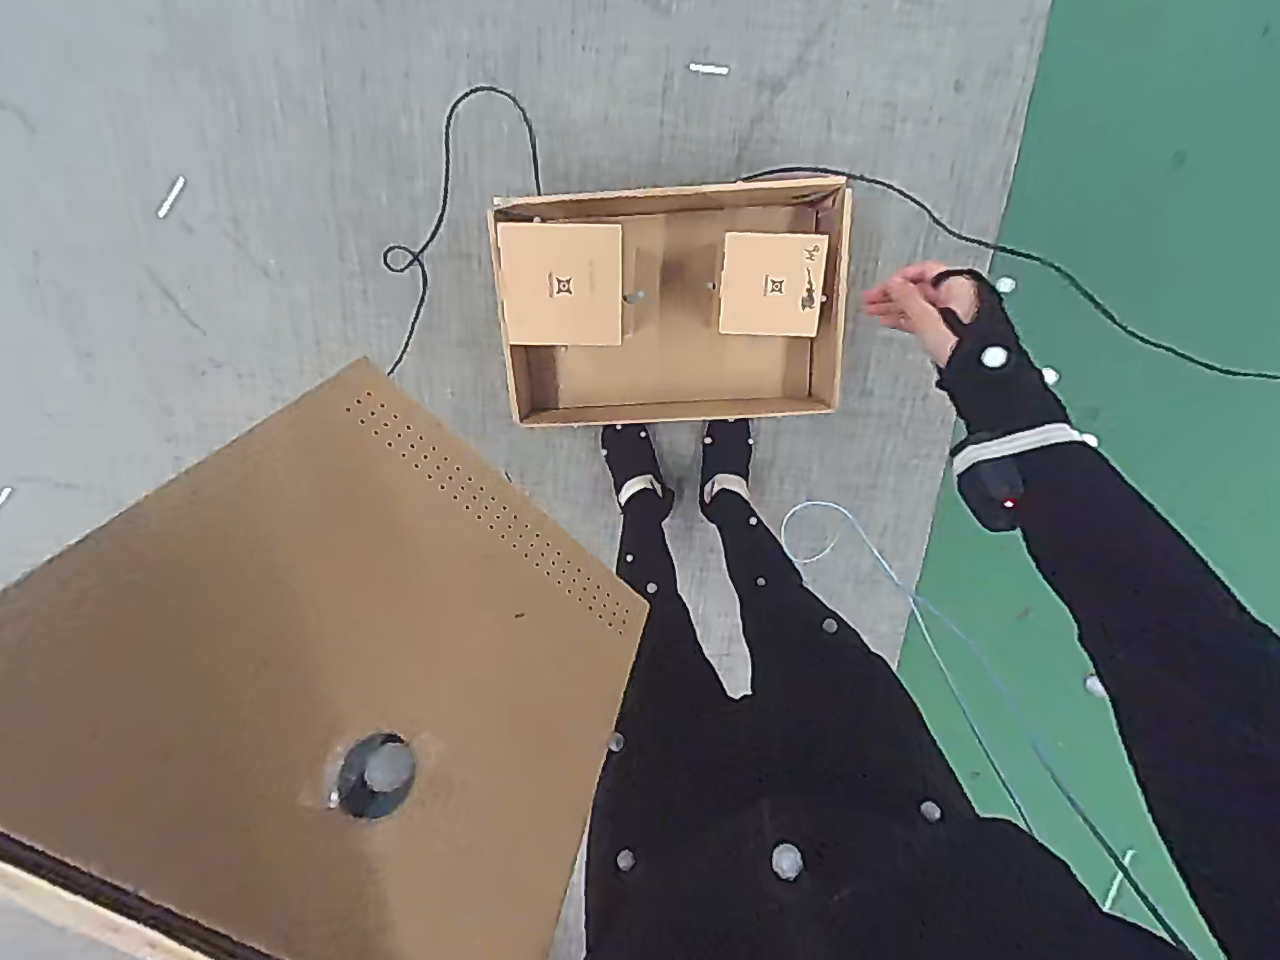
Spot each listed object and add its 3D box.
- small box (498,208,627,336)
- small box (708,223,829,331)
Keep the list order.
[{"bbox_3d":[-0.111,-0.316,0.840,0.179,0.176,0.168,2,110,-1],"label":"small box"},{"bbox_3d":[0.224,-0.366,0.993,0.179,0.176,0.168,3,108,0],"label":"small box"}]
